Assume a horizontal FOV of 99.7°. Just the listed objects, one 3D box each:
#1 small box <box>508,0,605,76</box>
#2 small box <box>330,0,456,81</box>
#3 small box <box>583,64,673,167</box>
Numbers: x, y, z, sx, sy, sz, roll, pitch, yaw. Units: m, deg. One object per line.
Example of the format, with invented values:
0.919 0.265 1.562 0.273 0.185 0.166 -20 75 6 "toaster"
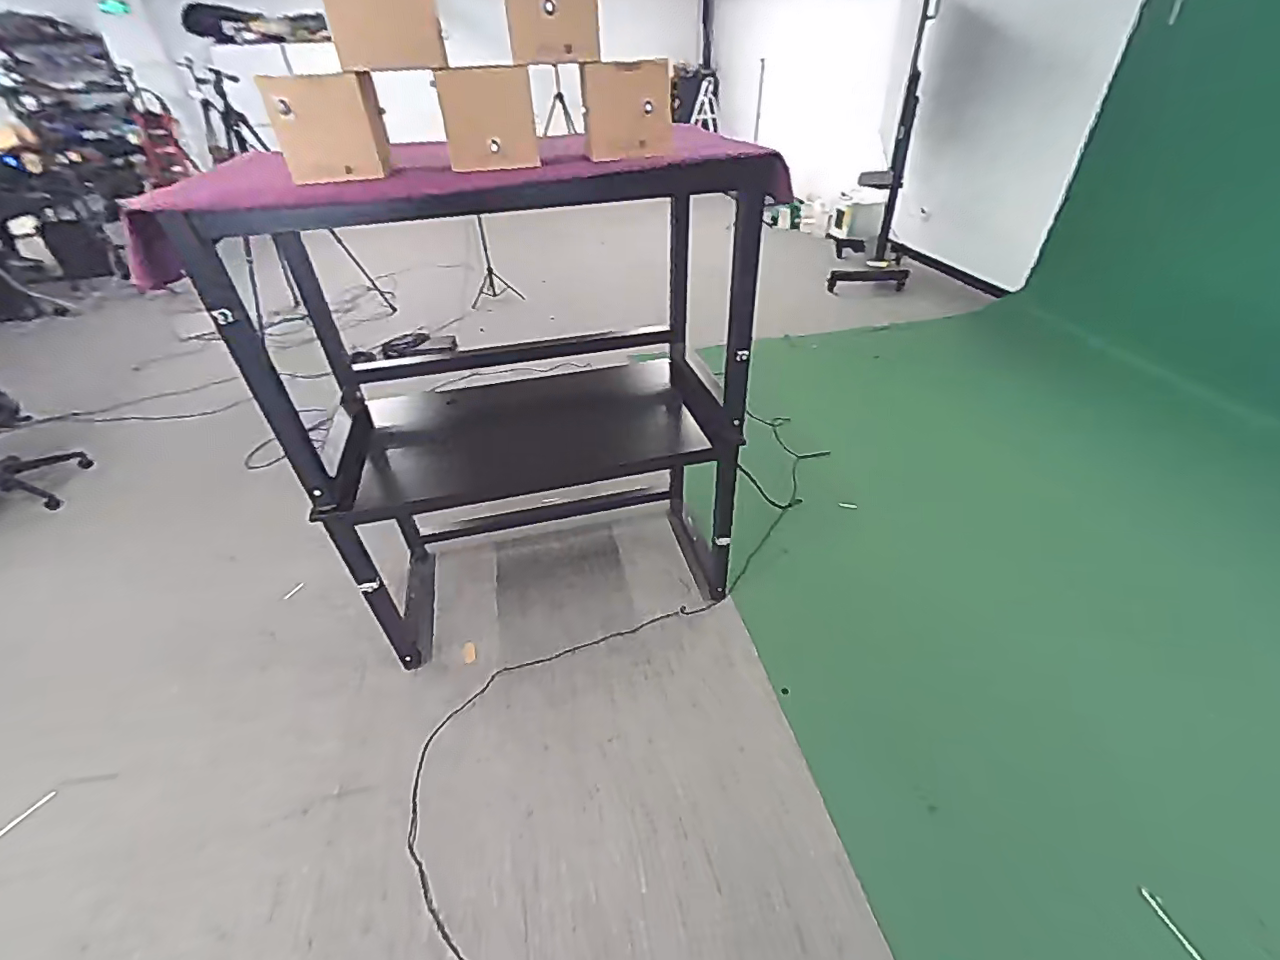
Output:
-0.161 -0.879 1.026 0.168 0.176 0.179 -7 37 -6 "small box"
-0.445 -0.829 0.975 0.179 0.176 0.168 -8 37 -8 "small box"
-0.026 -0.767 1.143 0.168 0.176 0.179 -7 37 -6 "small box"
